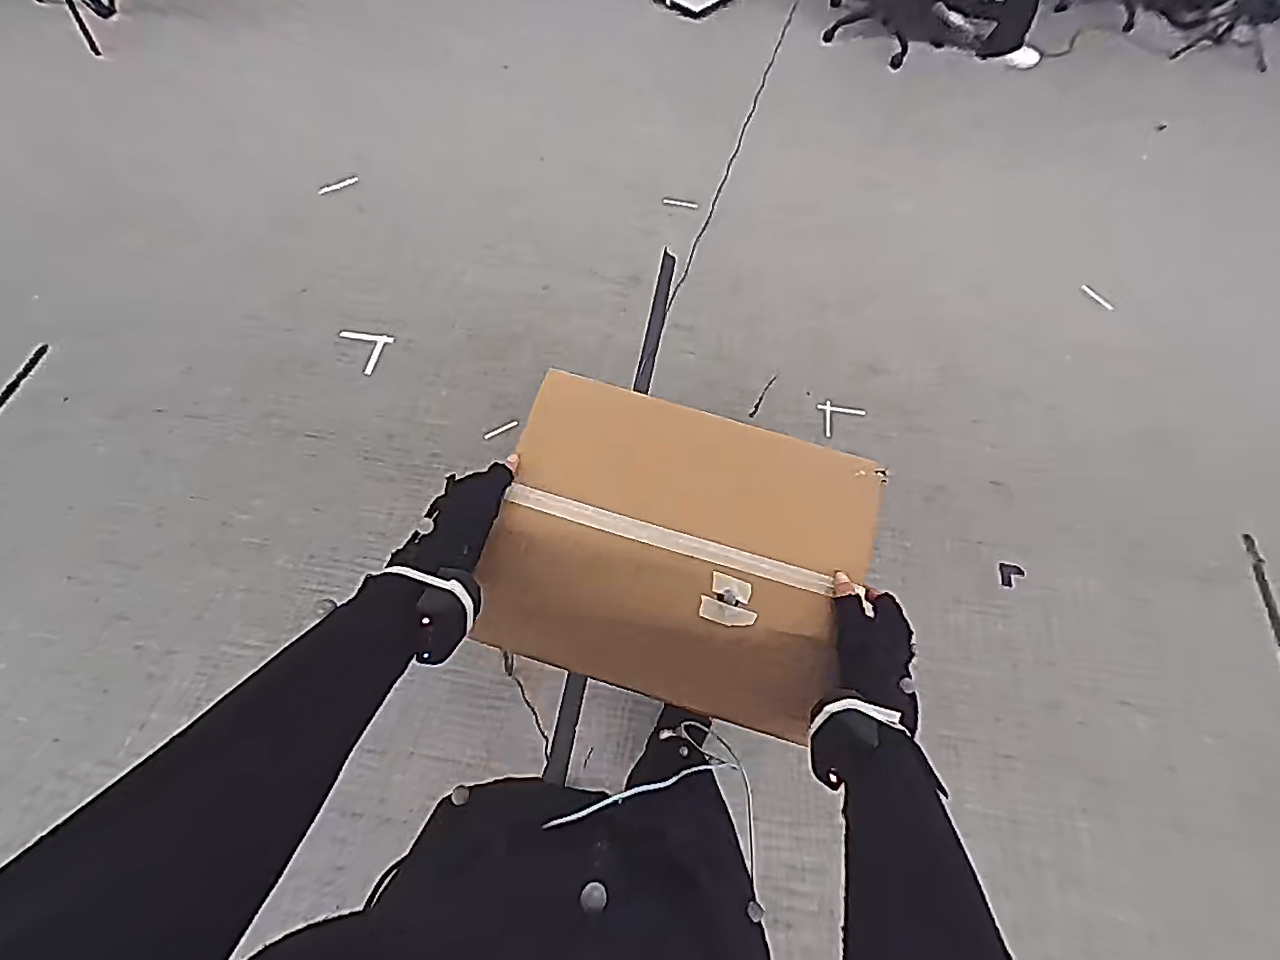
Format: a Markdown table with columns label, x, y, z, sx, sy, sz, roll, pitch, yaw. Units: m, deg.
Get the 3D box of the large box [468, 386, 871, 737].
| label | x | y | z | sx | sy | sz | roll | pitch | yaw |
| --- | --- | --- | --- | --- | --- | --- | --- | --- | --- |
| large box | 0.038 | 0.119 | 0.747 | 0.408 | 0.320 | 0.320 | 16 | 73 | 2 |
